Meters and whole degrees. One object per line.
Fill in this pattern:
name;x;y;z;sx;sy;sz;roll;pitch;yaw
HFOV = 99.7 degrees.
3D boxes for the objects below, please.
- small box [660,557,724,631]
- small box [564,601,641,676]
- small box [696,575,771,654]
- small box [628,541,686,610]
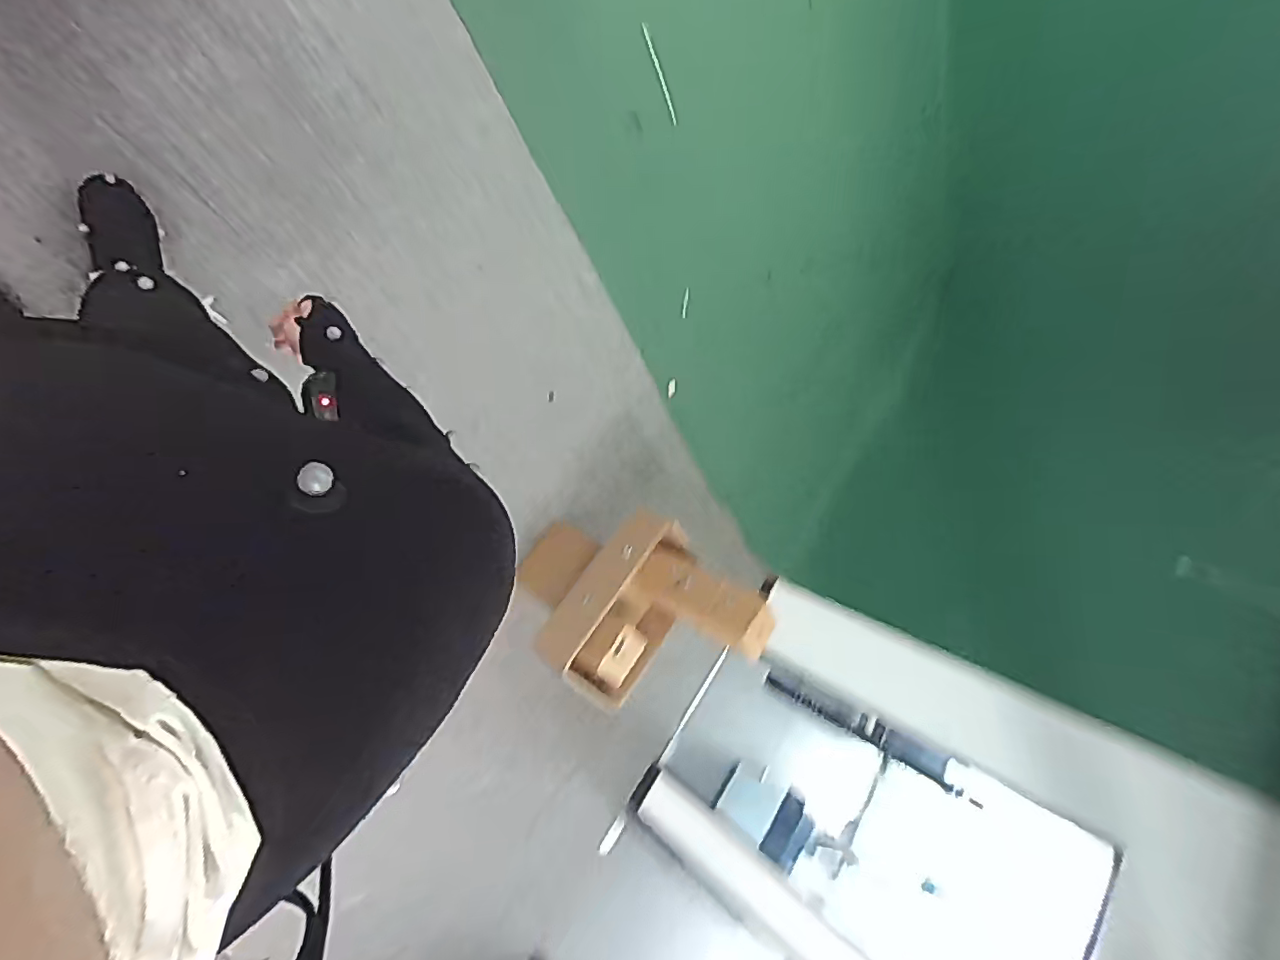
small box;0.202;0.400;1.930;0.168;0.176;0.179;-51;137;-21
small box;-0.132;0.541;1.870;0.168;0.176;0.179;-53;139;-18
small box;0.316;0.449;1.826;0.168;0.176;0.179;-49;136;-21
small box;0.085;0.354;2.034;0.168;0.176;0.179;-51;137;-19
